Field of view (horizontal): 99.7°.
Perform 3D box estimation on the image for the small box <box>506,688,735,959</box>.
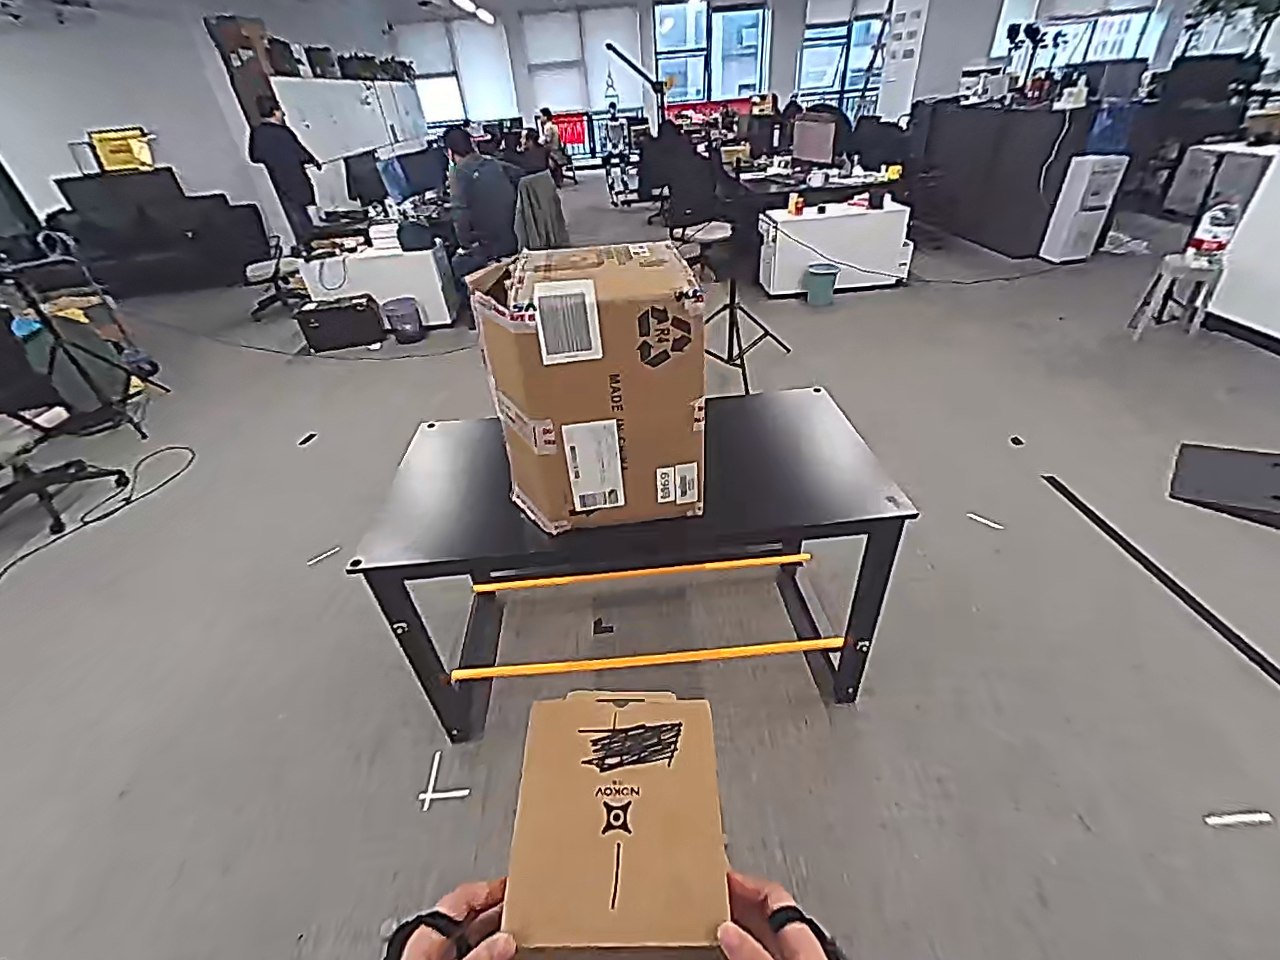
[{"bbox_3d":[-0.015,0.312,0.495,0.168,0.176,0.179,-1,43,0],"label":"small box"}]
